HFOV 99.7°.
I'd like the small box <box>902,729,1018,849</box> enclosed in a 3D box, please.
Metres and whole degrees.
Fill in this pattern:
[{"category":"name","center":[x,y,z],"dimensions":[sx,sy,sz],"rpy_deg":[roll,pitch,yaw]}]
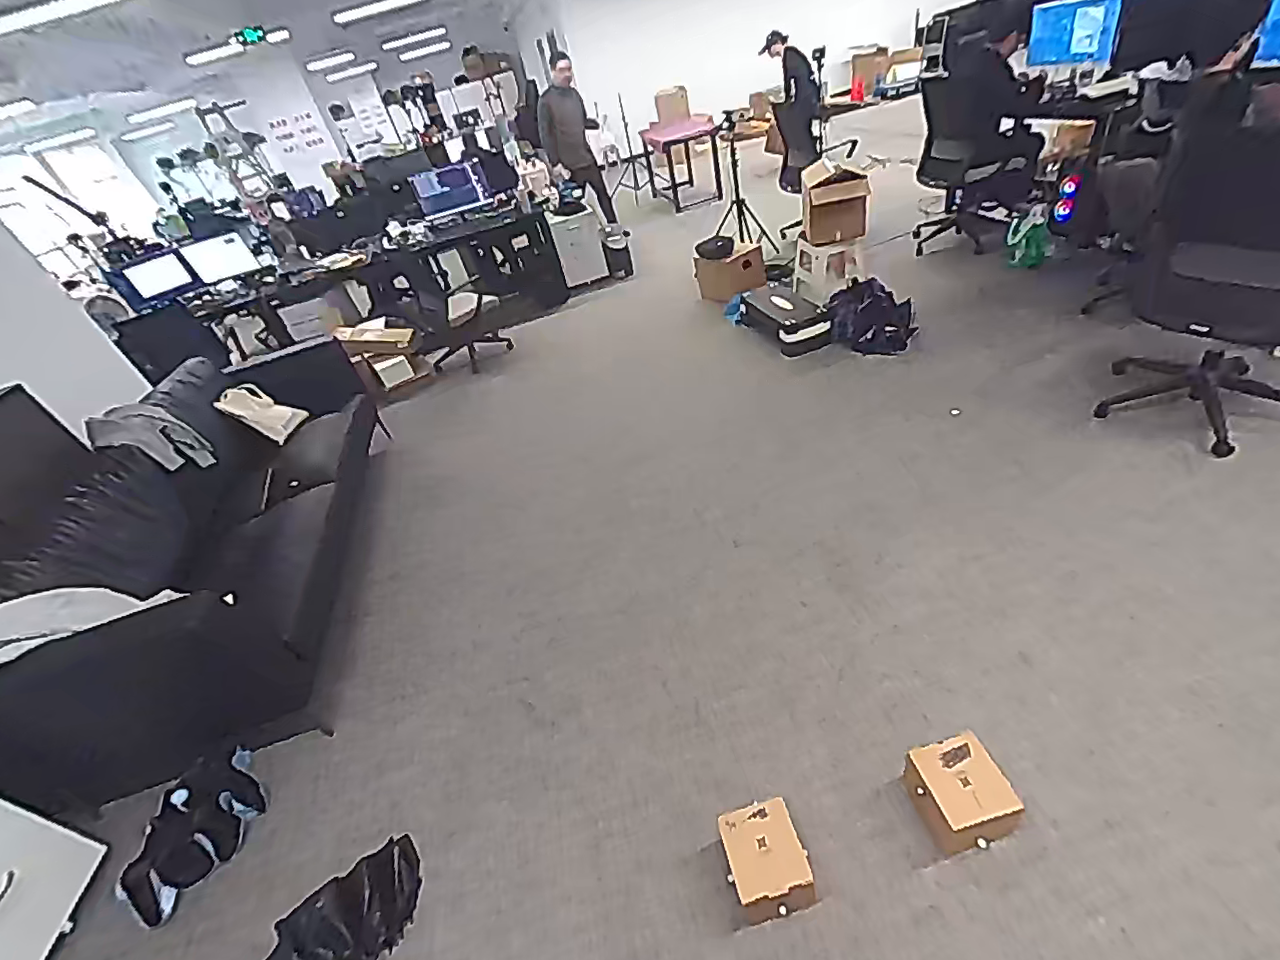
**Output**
[{"category":"small box","center":[0.743,0.731,1.279],"dimensions":[0.168,0.176,0.179],"rpy_deg":[-18,39,0]}]

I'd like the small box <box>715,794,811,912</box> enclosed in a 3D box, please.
[{"category":"small box","center":[0.290,0.882,1.272],"dimensions":[0.168,0.176,0.179],"rpy_deg":[-18,38,0]}]
